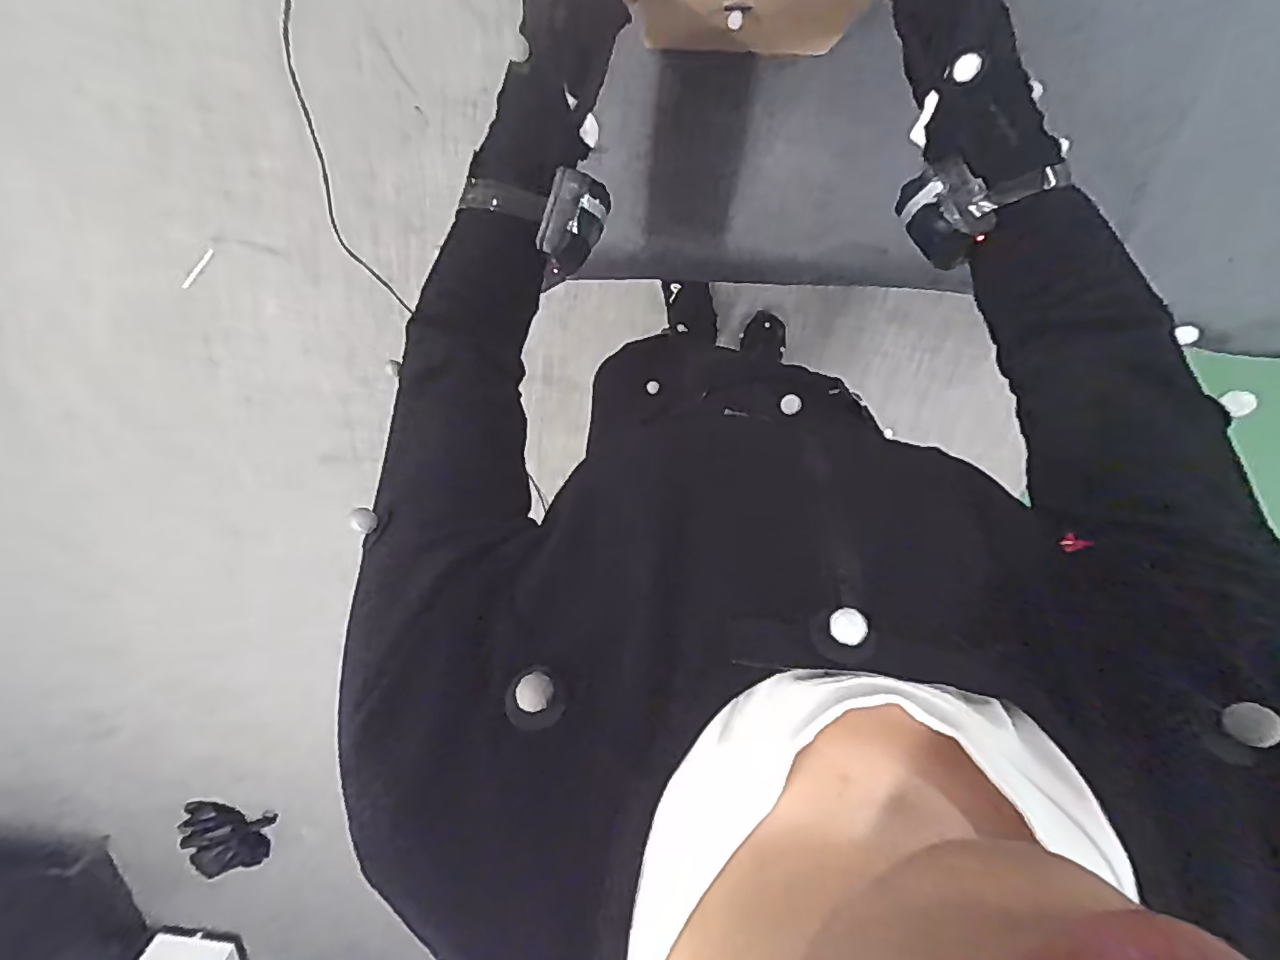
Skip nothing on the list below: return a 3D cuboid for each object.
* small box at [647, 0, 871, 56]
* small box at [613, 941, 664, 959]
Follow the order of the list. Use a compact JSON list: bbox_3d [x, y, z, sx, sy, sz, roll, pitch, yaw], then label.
[{"bbox_3d":[0.094,-0.451,0.418,0.179,0.176,0.168,3,117,1],"label":"small box"},{"bbox_3d":[-0.014,1.754,1.884,0.168,0.176,0.179,14,119,0],"label":"small box"}]
